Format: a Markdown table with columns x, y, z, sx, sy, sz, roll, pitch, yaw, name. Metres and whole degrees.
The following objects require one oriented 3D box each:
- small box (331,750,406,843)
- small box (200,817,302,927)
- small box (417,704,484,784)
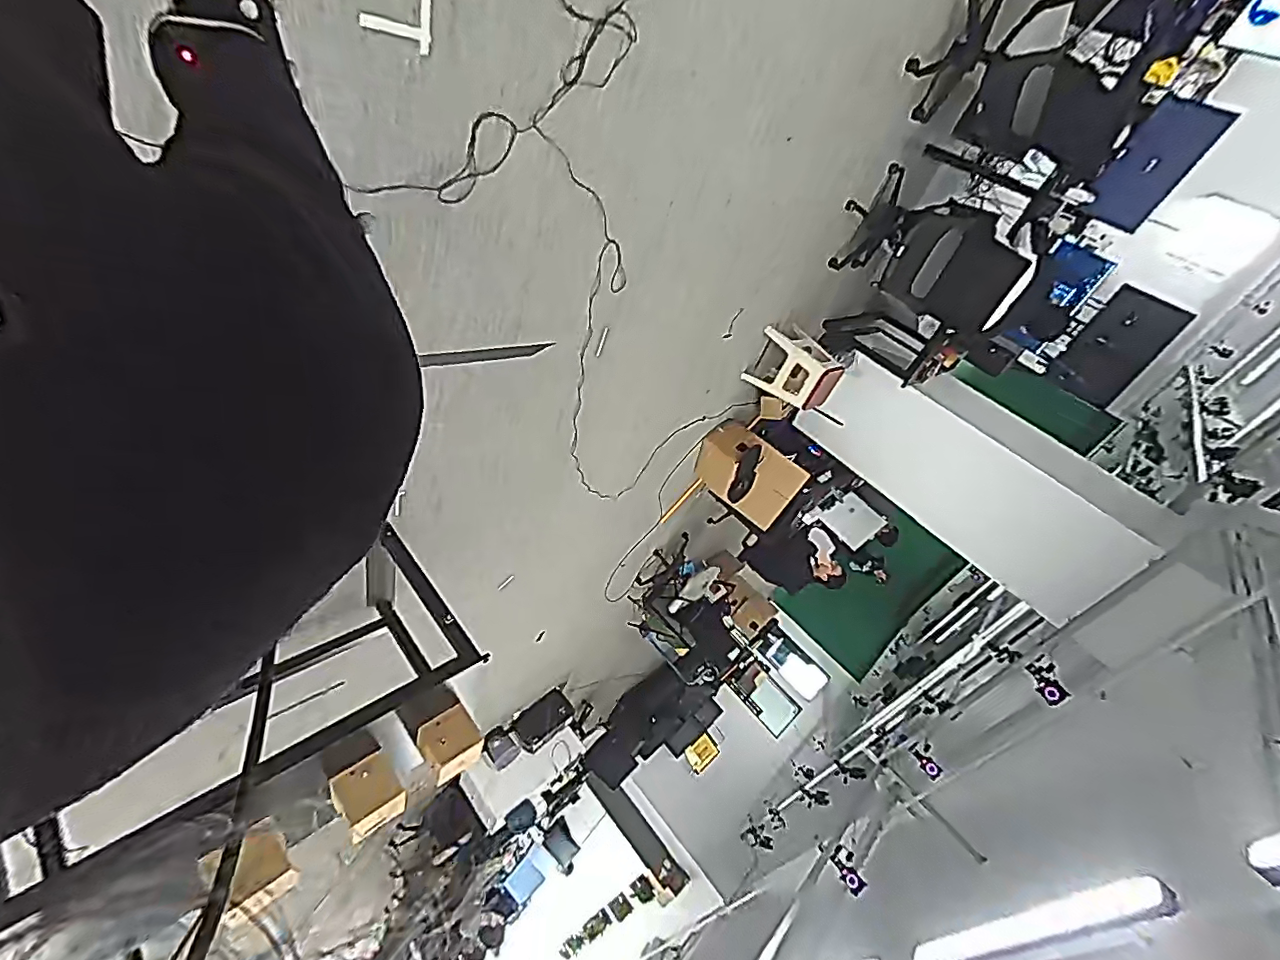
| x | y | z | sx | sy | sz | roll | pitch | yaw | name |
| --- | --- | --- | --- | --- | --- | --- | --- | --- | --- |
| -0.876 | 1.014 | 1.743 | 0.168 | 0.176 | 0.179 | -23 | 146 | -42 | small box |
| -1.091 | 1.097 | 1.523 | 0.179 | 0.176 | 0.168 | -26 | 149 | -40 | small box |
| -0.684 | 0.940 | 1.943 | 0.168 | 0.176 | 0.179 | -22 | 147 | -40 | small box |
